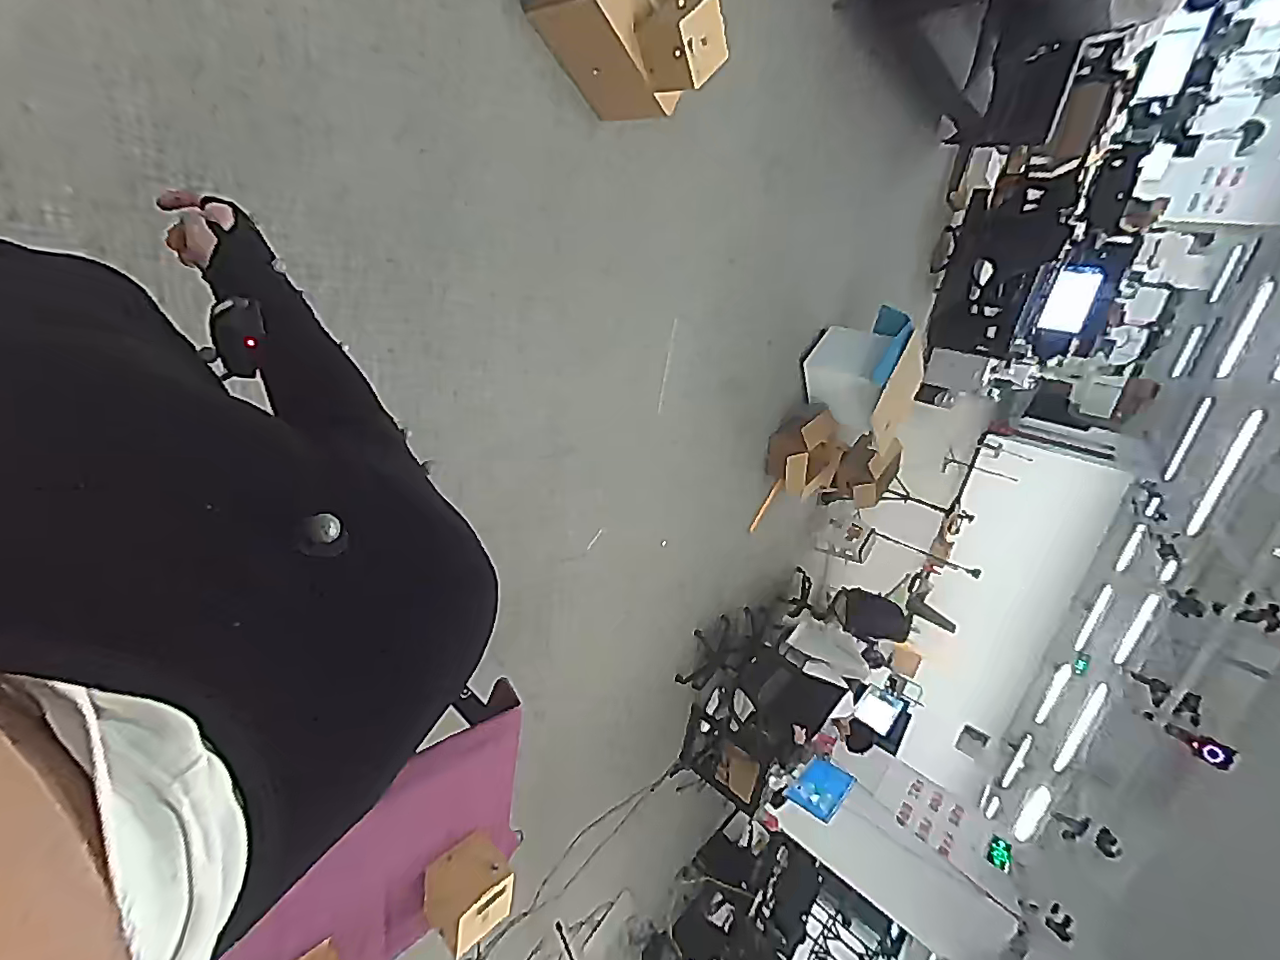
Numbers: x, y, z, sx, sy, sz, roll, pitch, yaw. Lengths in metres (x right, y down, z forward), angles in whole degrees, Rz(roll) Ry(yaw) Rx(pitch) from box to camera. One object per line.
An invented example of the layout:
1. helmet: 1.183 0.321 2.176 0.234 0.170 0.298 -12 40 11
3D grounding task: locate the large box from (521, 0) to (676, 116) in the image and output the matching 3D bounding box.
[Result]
1. large box: -0.072 -1.393 1.637 0.408 0.320 0.320 24 90 -54

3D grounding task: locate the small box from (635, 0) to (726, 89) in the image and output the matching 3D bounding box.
1. small box: 0.117 -1.250 1.538 0.179 0.176 0.168 -52 143 -15

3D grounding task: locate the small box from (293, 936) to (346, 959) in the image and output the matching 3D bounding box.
1. small box: -0.726 1.174 1.188 0.168 0.176 0.179 -13 119 -48
